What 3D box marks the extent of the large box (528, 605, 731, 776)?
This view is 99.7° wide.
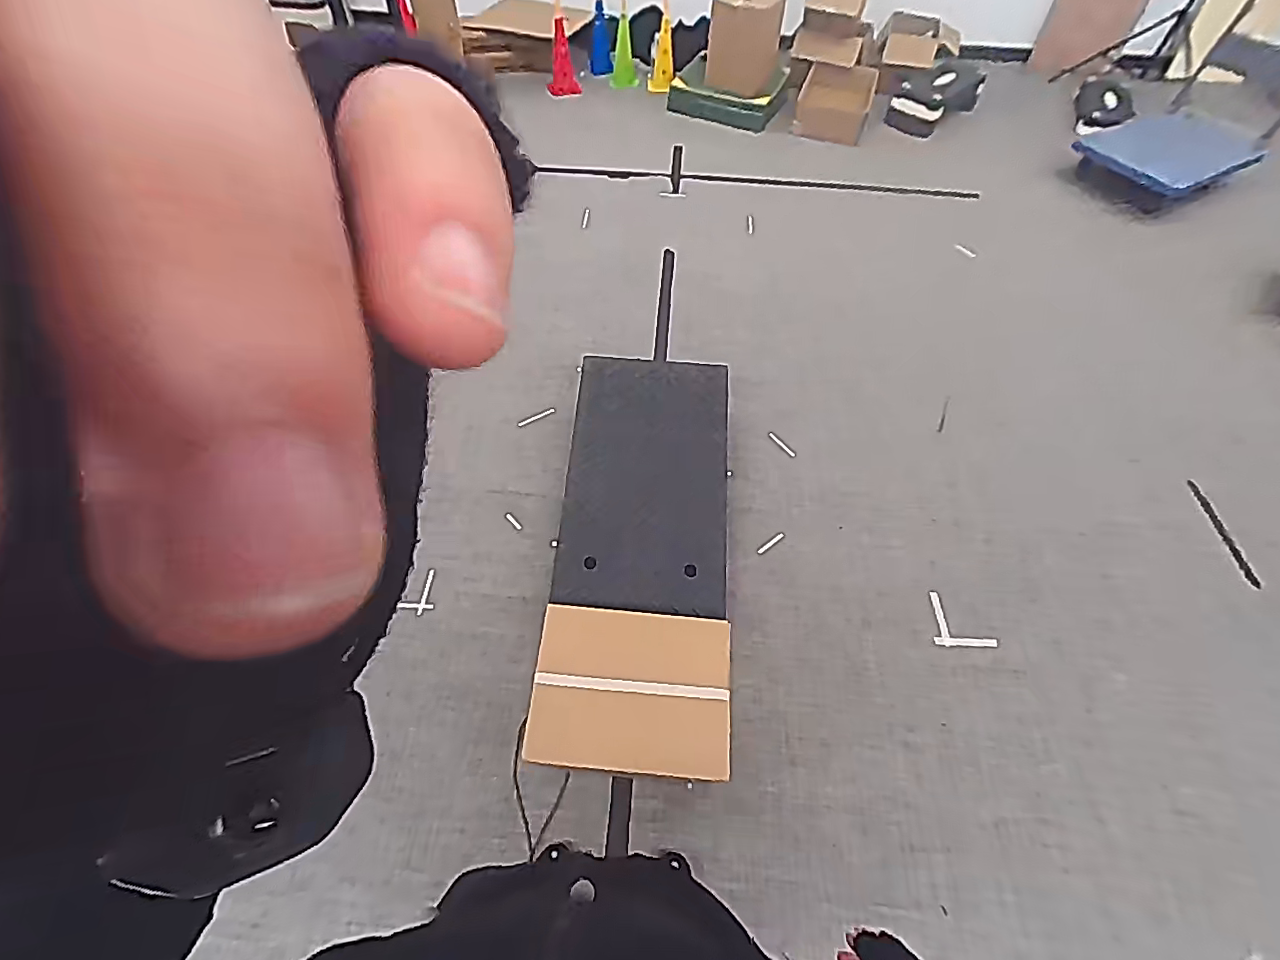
[{"bbox_3d":[-0.013,0.497,1.251,0.408,0.320,0.320,5,59,1],"label":"large box"}]

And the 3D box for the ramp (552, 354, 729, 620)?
[{"bbox_3d":[0.026,0.048,1.633,0.509,0.206,0.991,3,56,-1],"label":"ramp"}]
